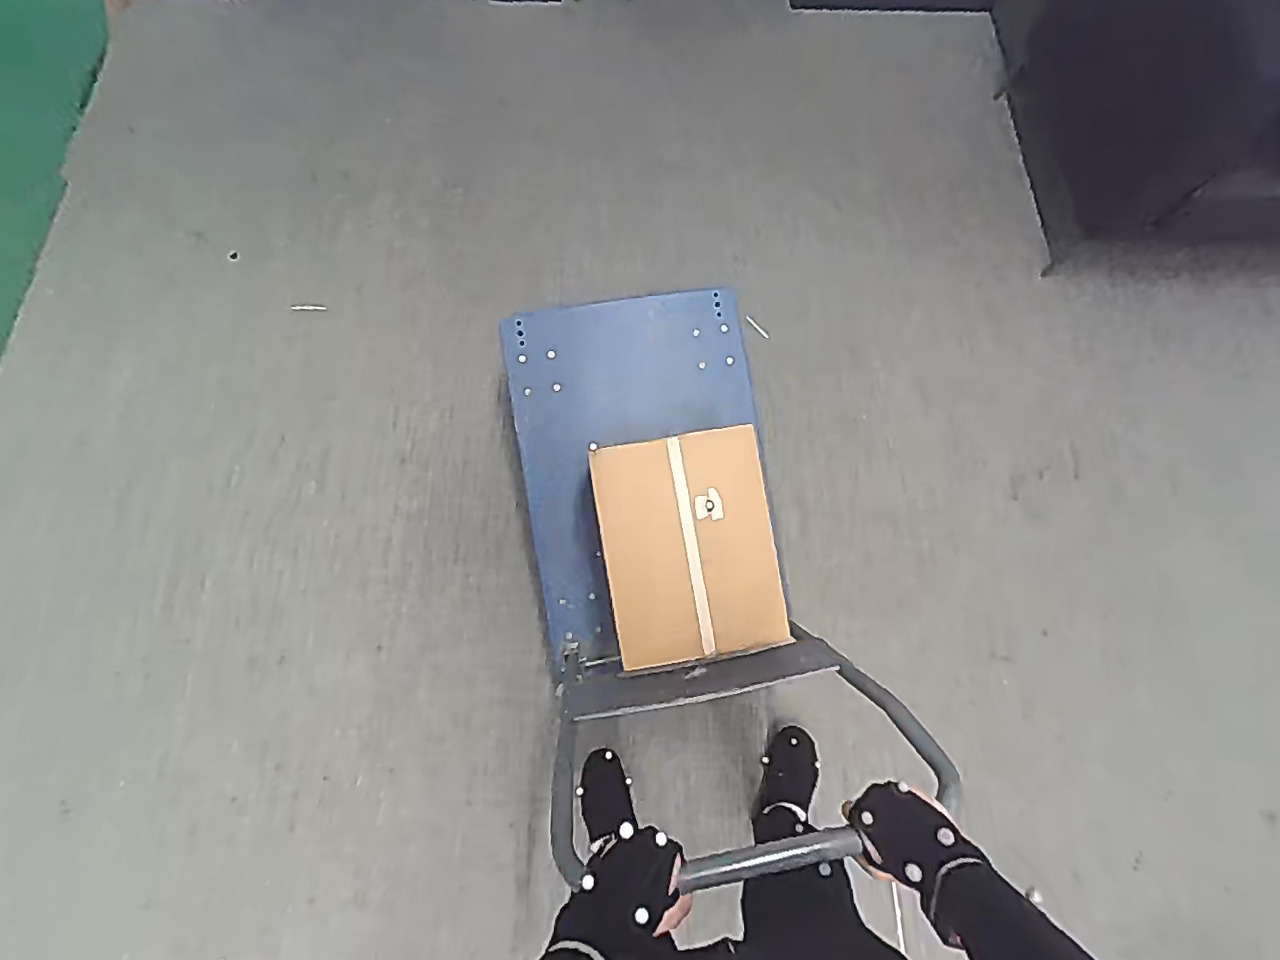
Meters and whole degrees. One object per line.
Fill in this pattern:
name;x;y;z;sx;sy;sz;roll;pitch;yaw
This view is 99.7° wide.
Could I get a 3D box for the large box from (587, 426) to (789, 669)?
large box;0.080;0.129;1.139;0.320;0.320;0.408;-10;87;-5
